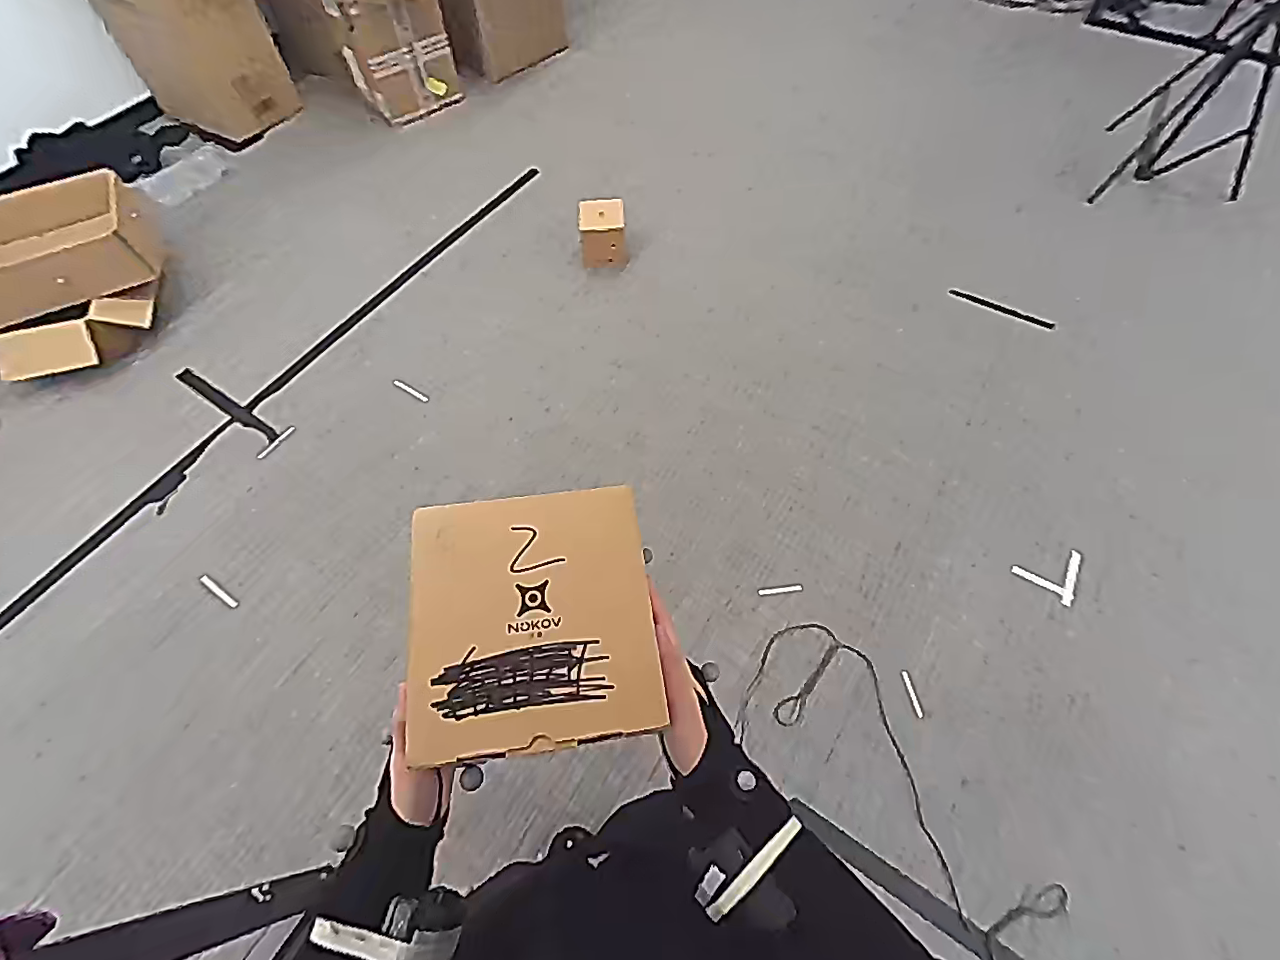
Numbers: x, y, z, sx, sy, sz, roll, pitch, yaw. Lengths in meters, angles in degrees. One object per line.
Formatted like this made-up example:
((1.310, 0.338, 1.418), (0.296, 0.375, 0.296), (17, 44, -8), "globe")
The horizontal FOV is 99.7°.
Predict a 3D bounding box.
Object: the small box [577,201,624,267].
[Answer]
((-0.152, -0.947, 2.094), (0.168, 0.176, 0.179), (-4, 60, -2), "small box")
